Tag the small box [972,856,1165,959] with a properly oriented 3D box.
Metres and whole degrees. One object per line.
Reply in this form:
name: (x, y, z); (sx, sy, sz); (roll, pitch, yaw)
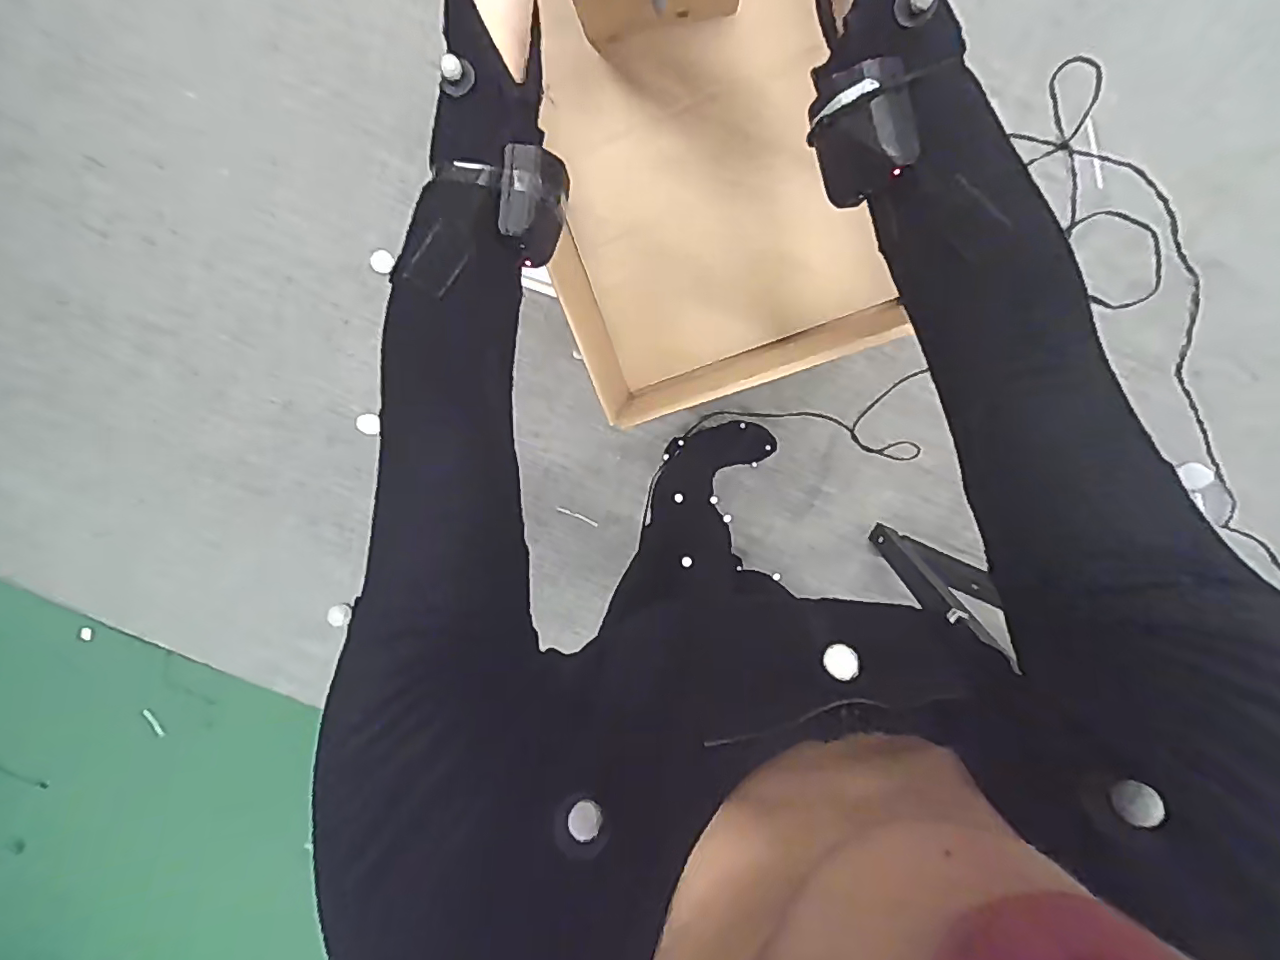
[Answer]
small box: (0.591, 0.665, 0.728); (0.168, 0.176, 0.179); (32, 108, -7)
